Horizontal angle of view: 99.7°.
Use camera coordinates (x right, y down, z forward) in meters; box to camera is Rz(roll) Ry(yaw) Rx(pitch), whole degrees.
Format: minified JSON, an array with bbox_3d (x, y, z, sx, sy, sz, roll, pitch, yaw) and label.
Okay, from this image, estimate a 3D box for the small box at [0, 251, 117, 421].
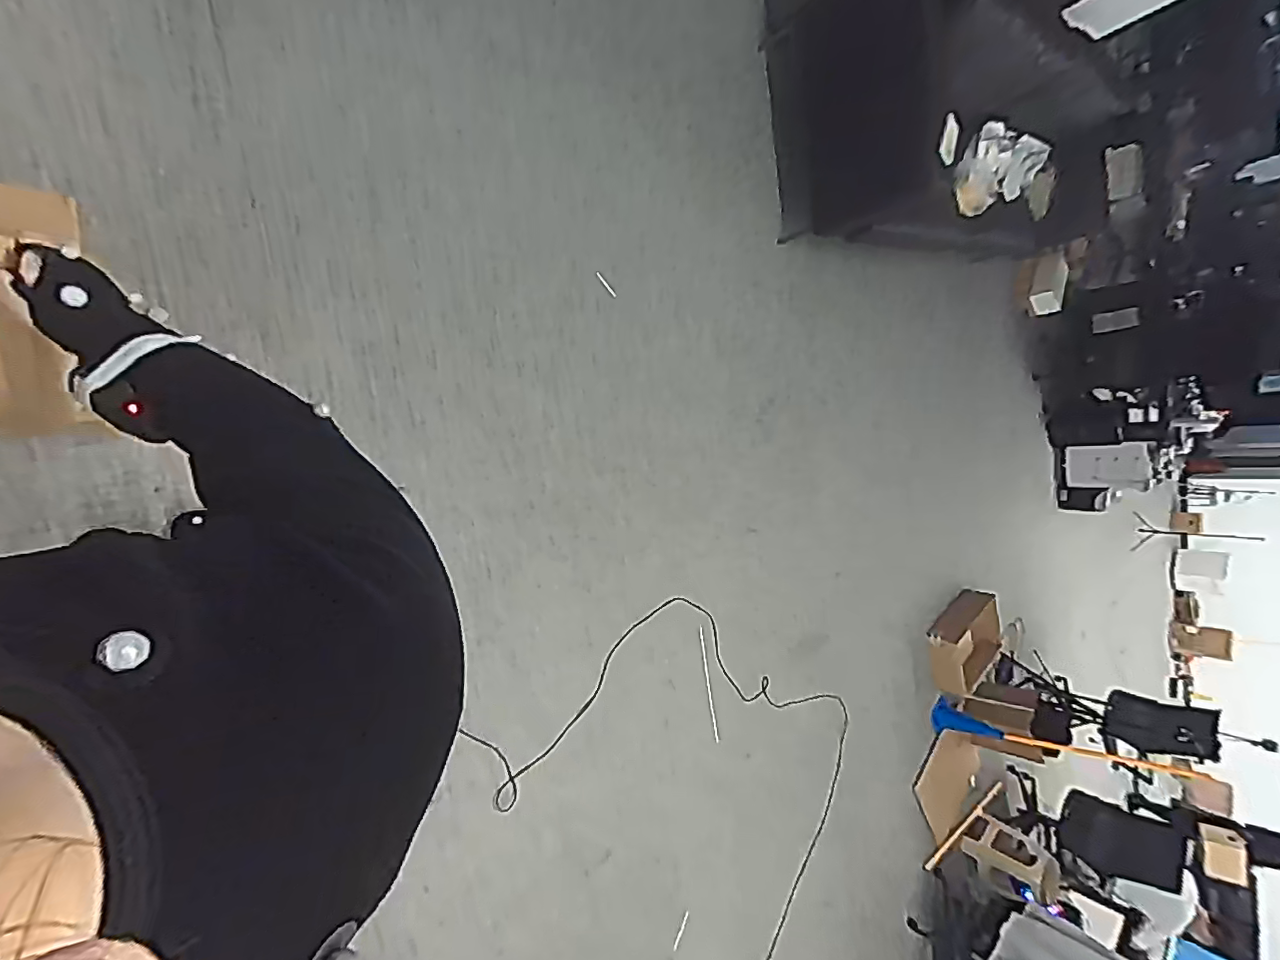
[{"bbox_3d":[-0.758,-0.162,0.643,0.168,0.176,0.179,-11,97,-38],"label":"small box"}]
